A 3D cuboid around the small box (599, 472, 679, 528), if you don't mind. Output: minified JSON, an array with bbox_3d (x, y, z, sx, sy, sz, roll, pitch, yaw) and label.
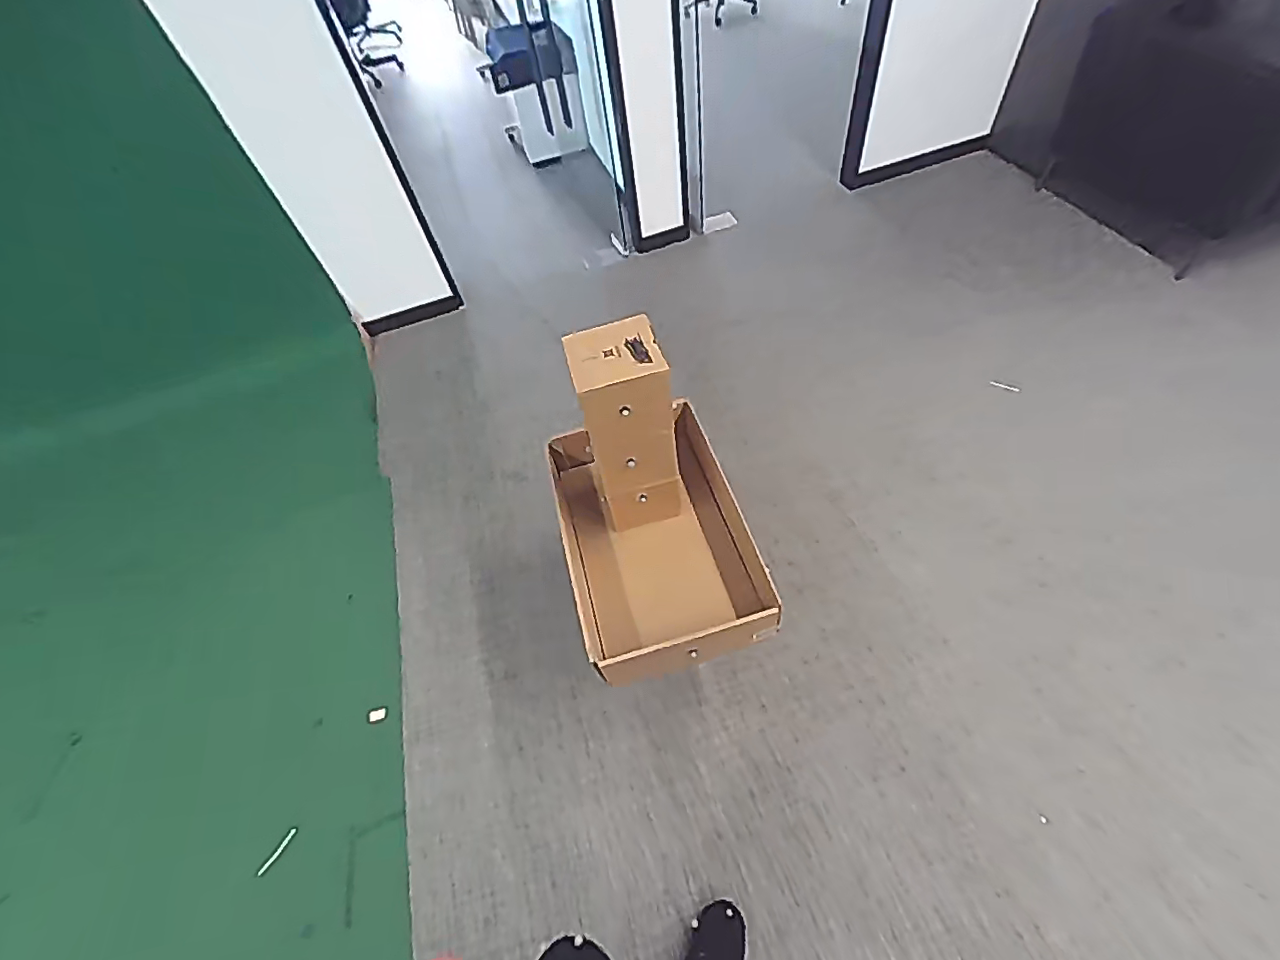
[{"bbox_3d":[-0.006,0.001,1.342,0.179,0.176,0.168,-13,55,-3],"label":"small box"}]

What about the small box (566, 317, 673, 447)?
[{"bbox_3d":[-0.036,-0.191,1.076,0.179,0.176,0.168,-15,55,-3],"label":"small box"}]

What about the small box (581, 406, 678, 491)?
[{"bbox_3d":[-0.021,-0.096,1.210,0.179,0.176,0.168,-15,56,-3],"label":"small box"}]
